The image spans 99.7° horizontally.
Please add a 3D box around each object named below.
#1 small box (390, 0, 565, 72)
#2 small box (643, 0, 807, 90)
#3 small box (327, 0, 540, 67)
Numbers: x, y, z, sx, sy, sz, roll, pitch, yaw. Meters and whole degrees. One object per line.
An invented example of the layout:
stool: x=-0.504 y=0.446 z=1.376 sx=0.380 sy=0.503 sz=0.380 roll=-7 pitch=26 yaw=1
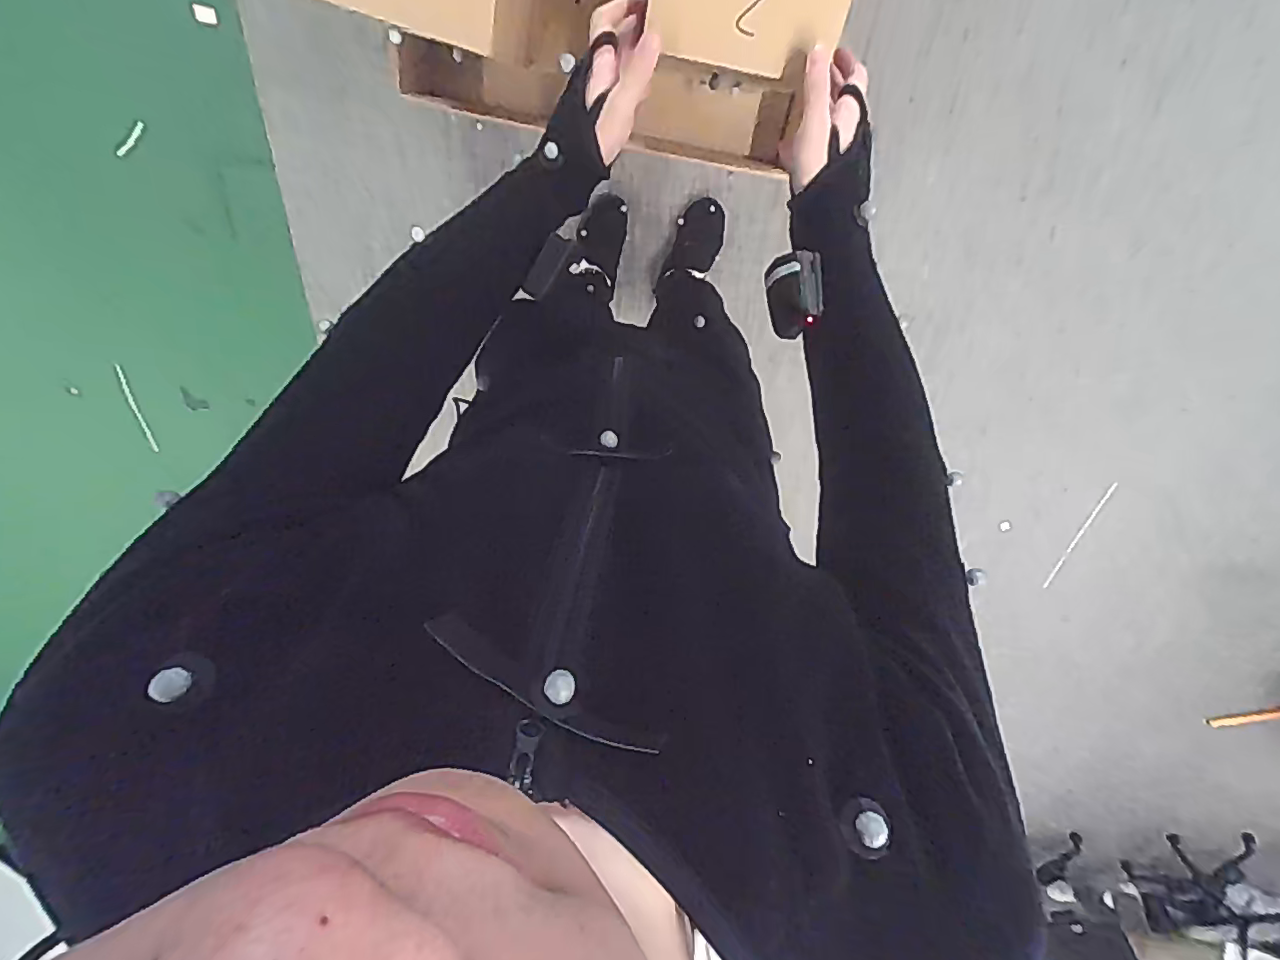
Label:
small box: x=-0.176 y=-0.595 z=0.620 sx=0.168 sy=0.176 sz=0.179 roll=12 pitch=124 yaw=-5
small box: x=0.101 y=-0.570 z=0.623 sx=0.168 sy=0.176 sz=0.179 roll=9 pitch=124 yaw=-4
small box: x=-0.187 y=-0.499 z=0.487 sx=0.179 sy=0.176 sz=0.168 roll=14 pitch=124 yaw=-8
